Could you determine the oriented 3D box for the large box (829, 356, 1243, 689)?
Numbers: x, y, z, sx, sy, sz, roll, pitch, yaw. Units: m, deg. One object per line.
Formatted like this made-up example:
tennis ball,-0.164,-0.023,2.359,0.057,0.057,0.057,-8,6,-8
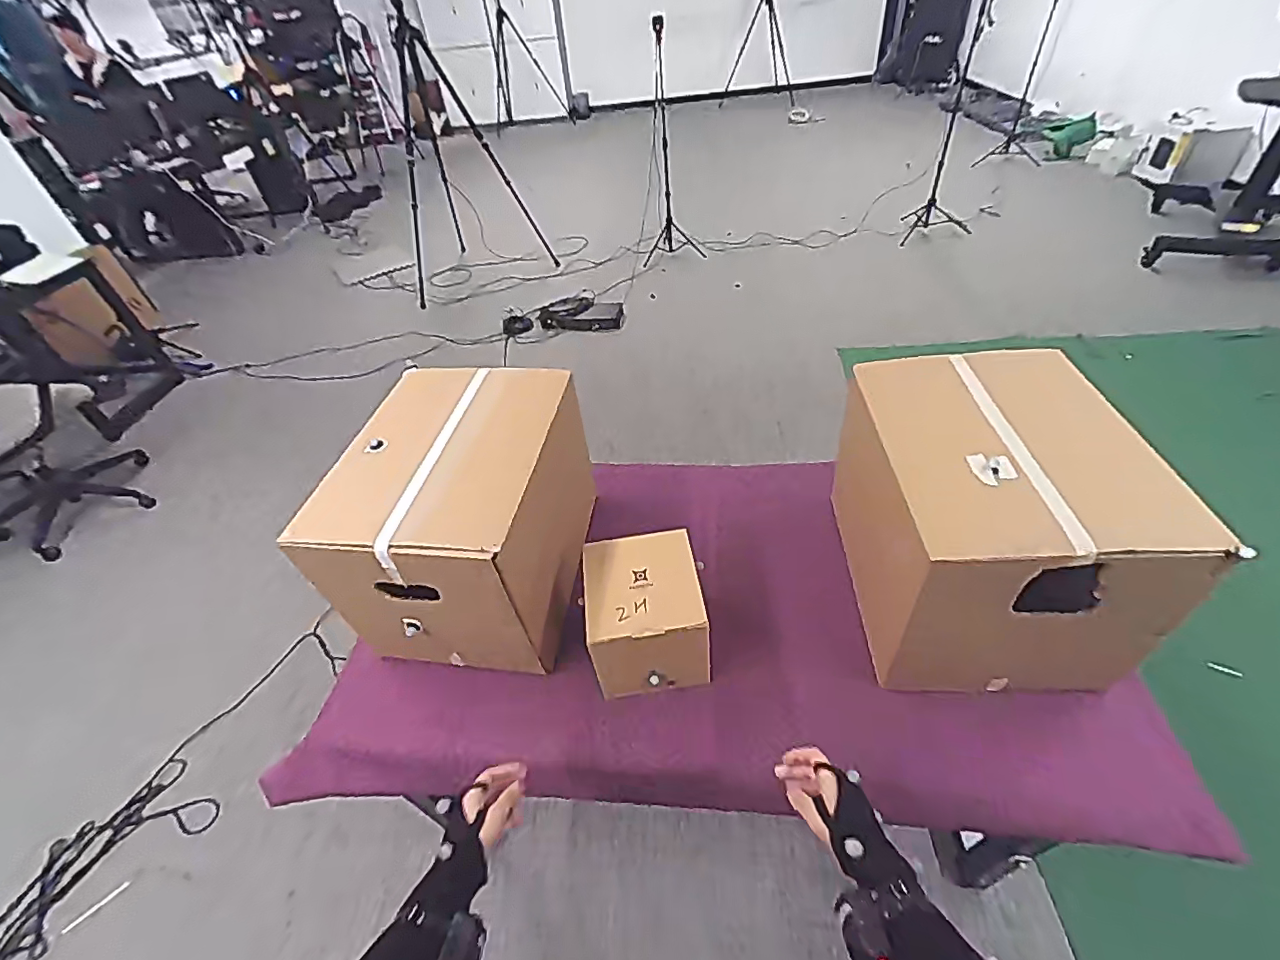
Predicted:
large box,0.499,0.056,0.818,0.320,0.320,0.408,-3,44,8
